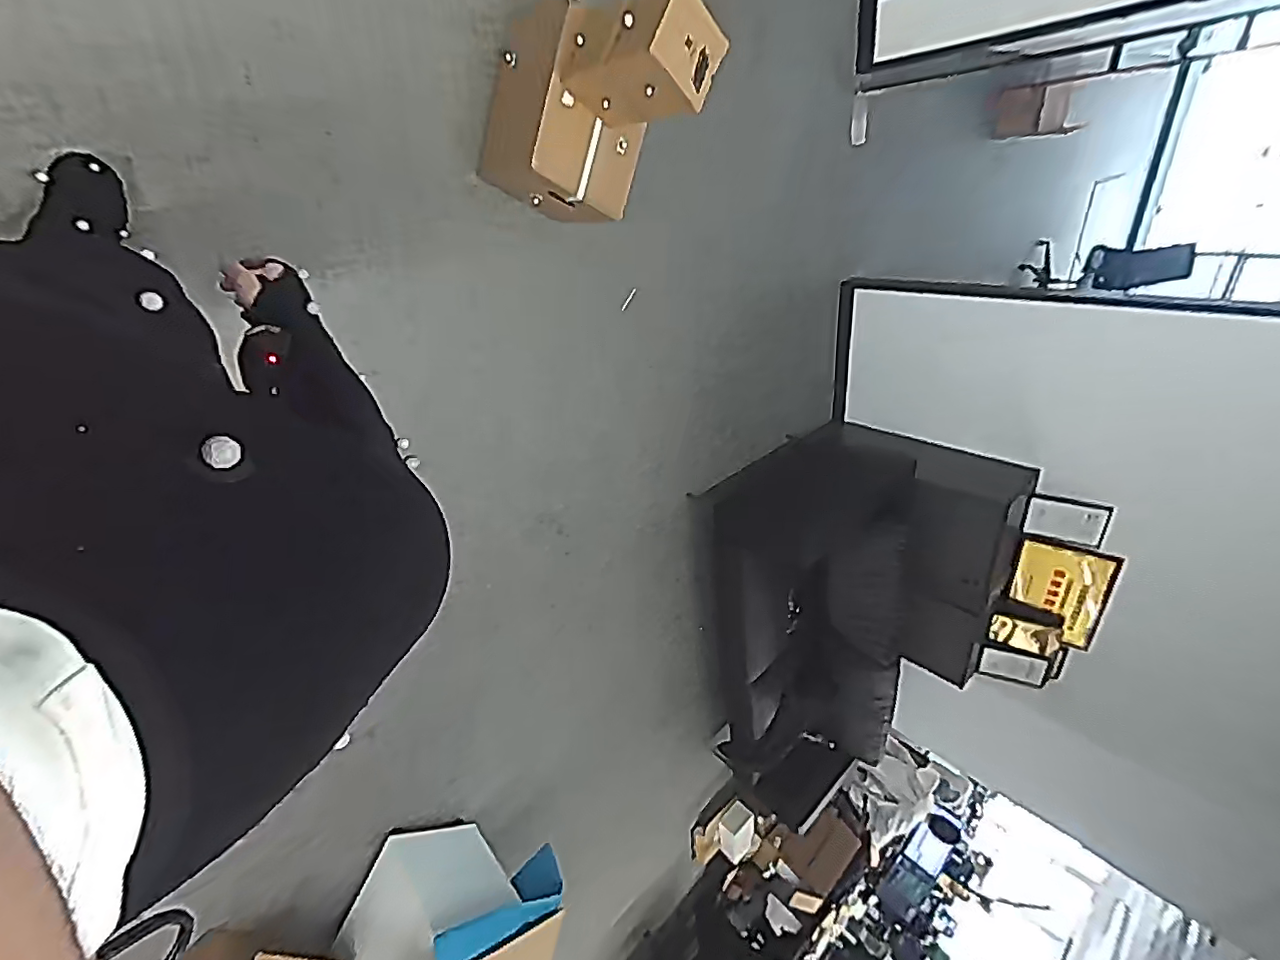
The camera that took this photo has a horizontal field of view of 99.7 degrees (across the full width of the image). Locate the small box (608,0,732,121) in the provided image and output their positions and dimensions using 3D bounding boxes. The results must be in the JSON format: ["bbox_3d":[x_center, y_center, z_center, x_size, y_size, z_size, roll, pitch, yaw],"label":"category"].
[{"bbox_3d":[0.063,-0.927,1.188,0.179,0.176,0.168,22,93,-44],"label":"small box"}]
